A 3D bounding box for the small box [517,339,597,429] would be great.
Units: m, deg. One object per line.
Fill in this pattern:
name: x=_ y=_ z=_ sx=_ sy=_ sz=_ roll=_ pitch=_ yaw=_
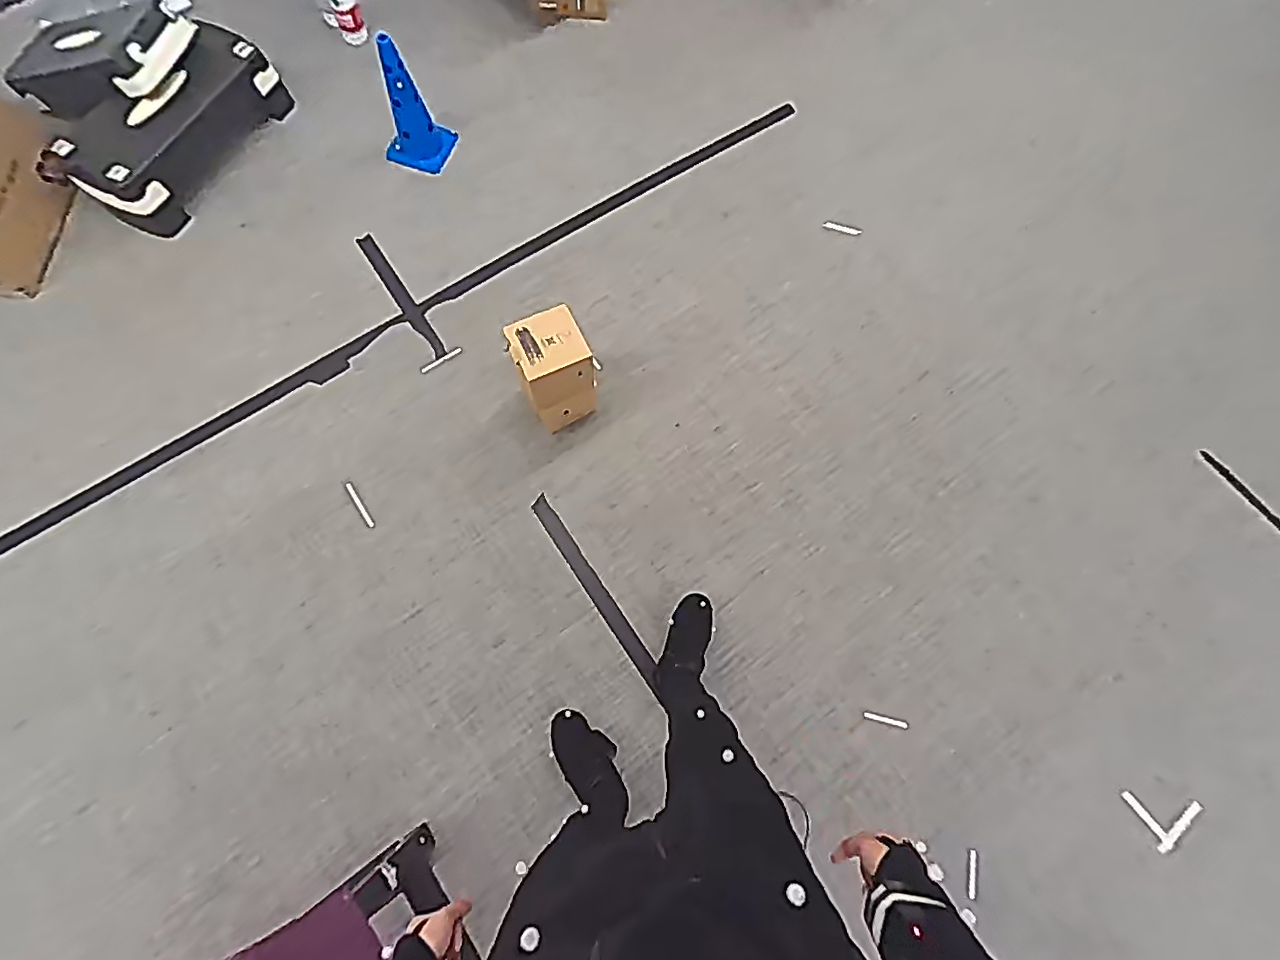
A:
small box: x=-0.233 y=-0.269 z=1.572 sx=0.168 sy=0.176 sz=0.179 roll=-29 pitch=77 yaw=-11
